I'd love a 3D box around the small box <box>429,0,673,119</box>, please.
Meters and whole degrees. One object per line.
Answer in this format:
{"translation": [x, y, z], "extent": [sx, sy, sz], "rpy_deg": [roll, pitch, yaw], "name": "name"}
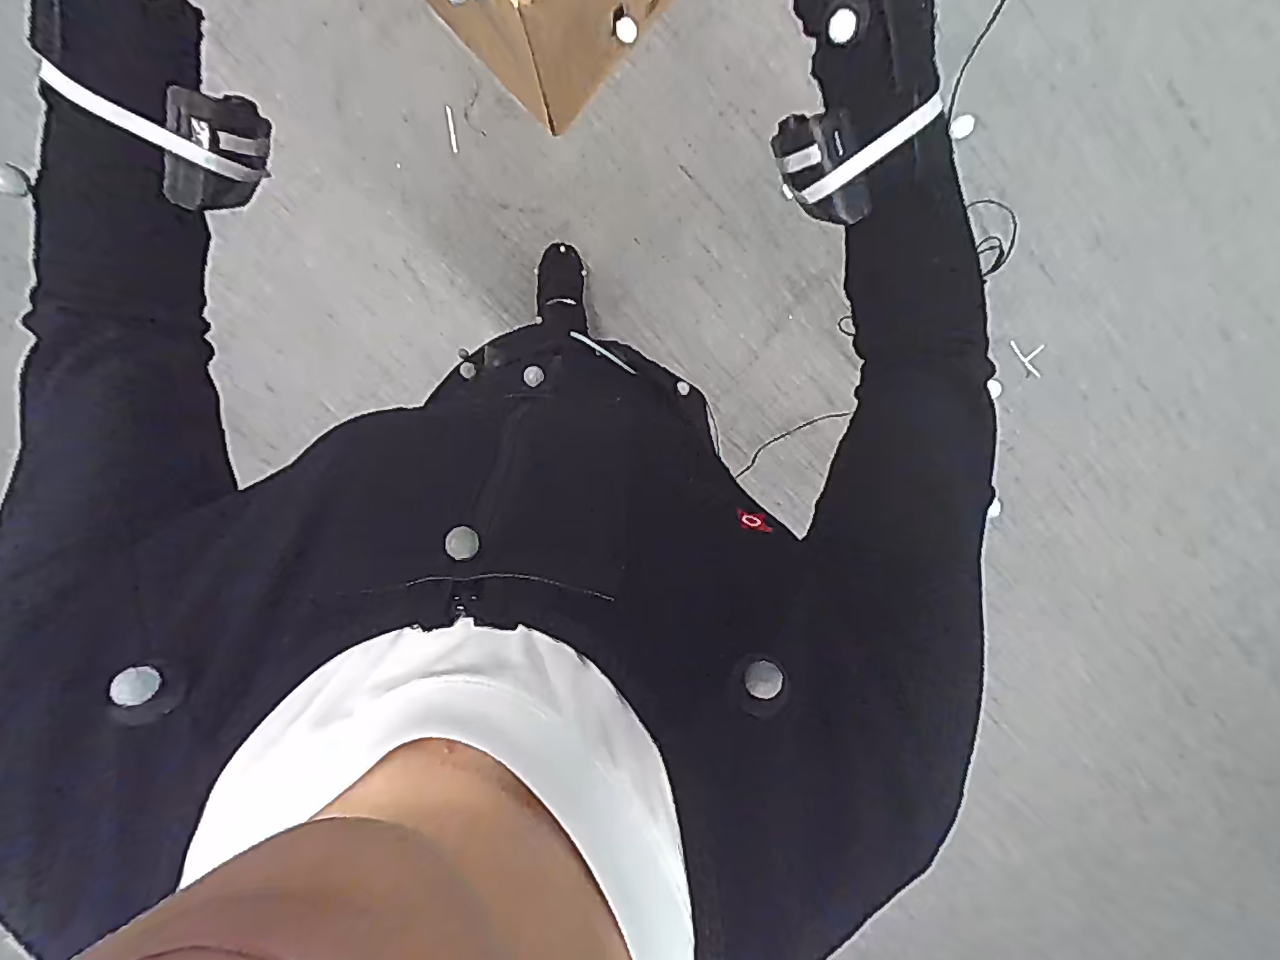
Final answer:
{"translation": [-0.067, -0.361, 0.309], "extent": [0.179, 0.176, 0.168], "rpy_deg": [43, 98, -13], "name": "small box"}
